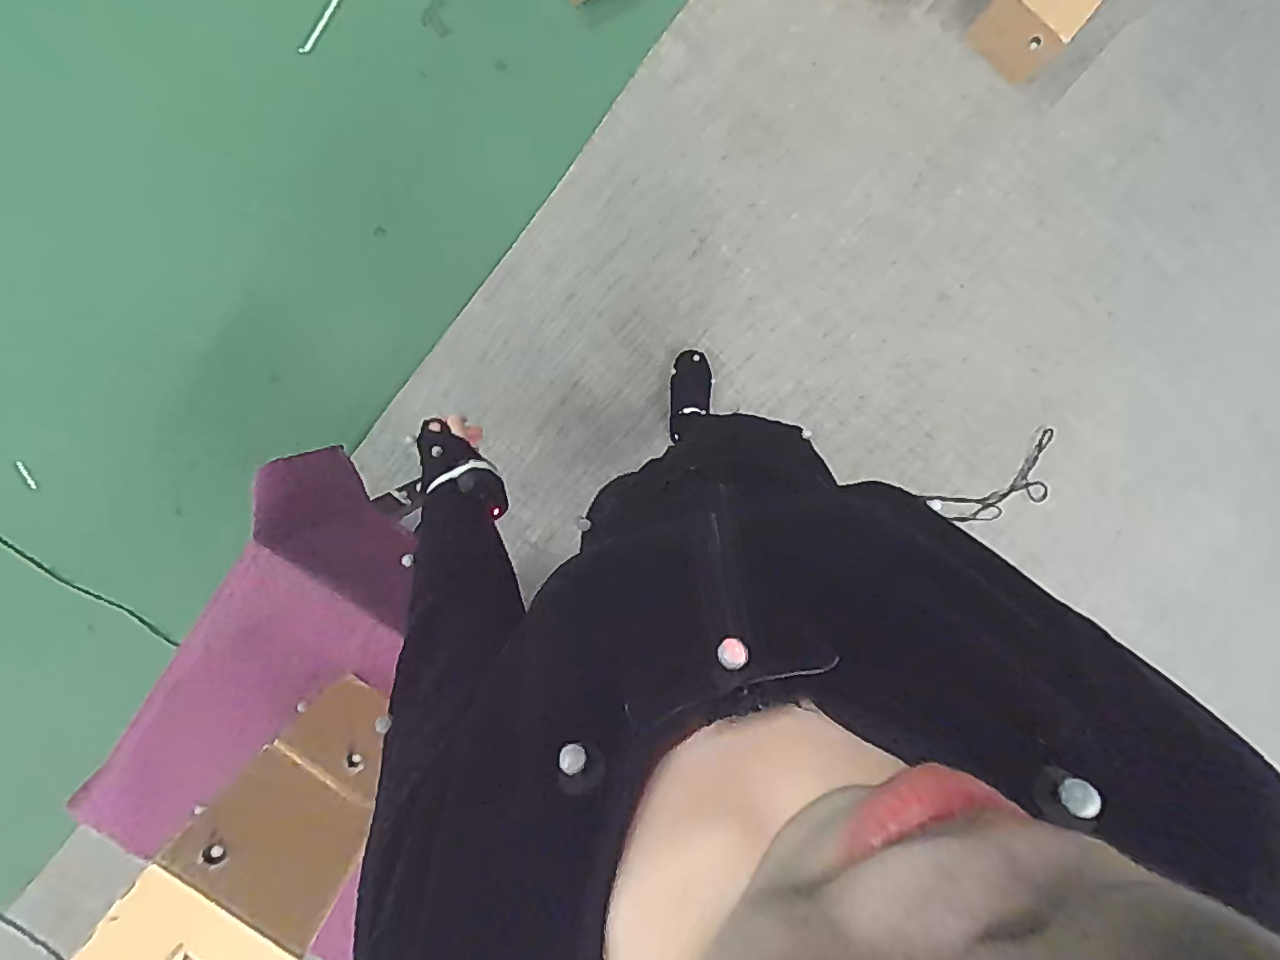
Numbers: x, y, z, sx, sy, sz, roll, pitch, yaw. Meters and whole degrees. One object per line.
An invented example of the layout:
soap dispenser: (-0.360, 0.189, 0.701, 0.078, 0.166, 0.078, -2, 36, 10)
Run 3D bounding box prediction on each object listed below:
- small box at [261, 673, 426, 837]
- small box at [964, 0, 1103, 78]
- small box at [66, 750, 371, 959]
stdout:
small box: (-0.441, 0.414, 0.766, 0.179, 0.176, 0.168, 43, 99, -7)
small box: (0.864, -1.031, 1.179, 0.179, 0.176, 0.168, 38, 99, -6)
small box: (-0.448, 0.451, 0.608, 0.179, 0.176, 0.168, 41, 99, -6)
